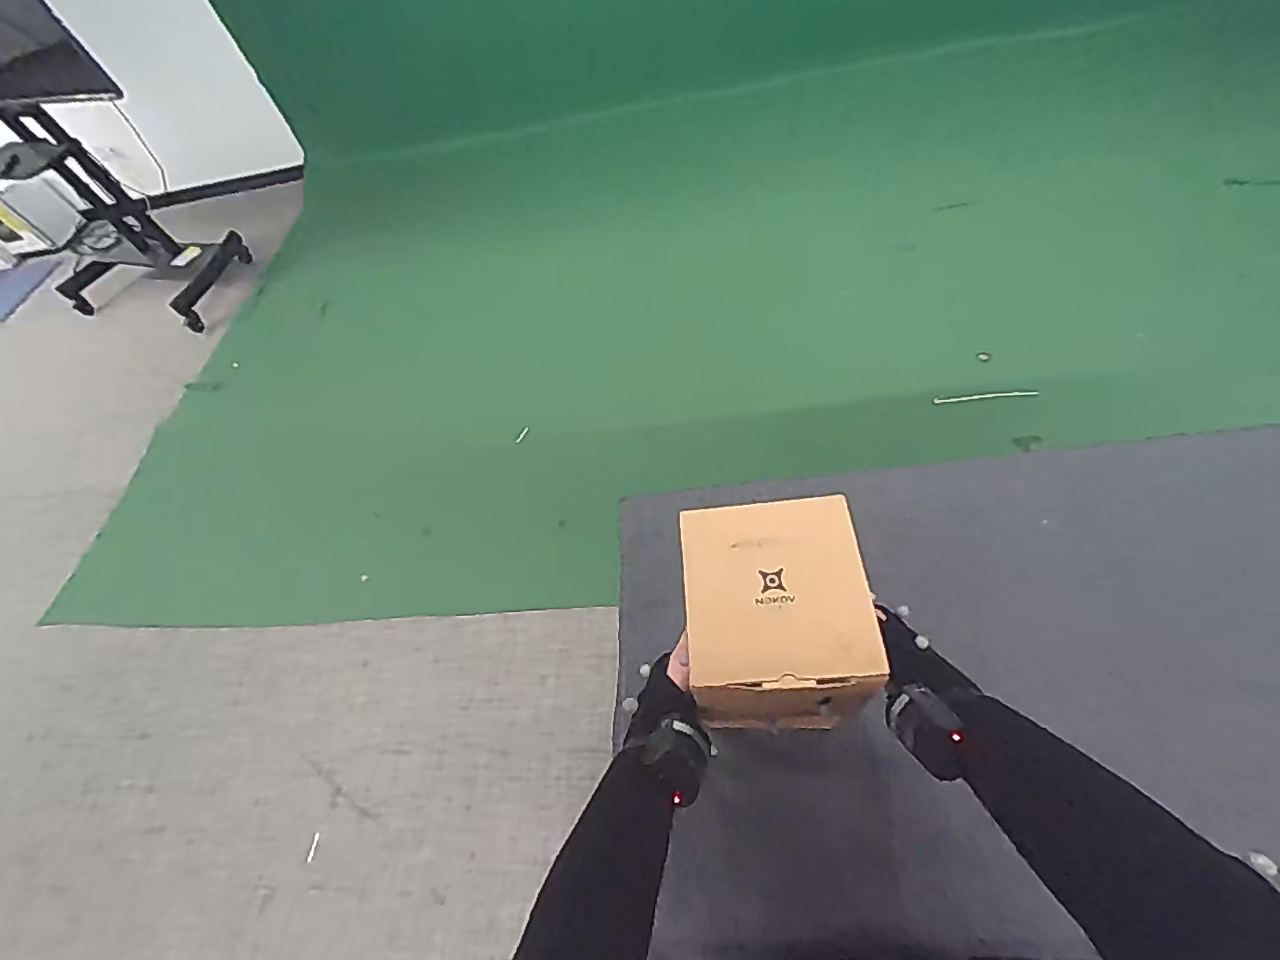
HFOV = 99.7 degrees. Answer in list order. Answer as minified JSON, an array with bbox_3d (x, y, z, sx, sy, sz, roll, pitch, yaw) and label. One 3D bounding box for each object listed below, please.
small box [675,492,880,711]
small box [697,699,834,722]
[{"bbox_3d":[0.131,0.135,0.563,0.168,0.176,0.179,-6,55,7],"label":"small box"},{"bbox_3d":[0.159,0.212,0.705,0.168,0.176,0.179,-4,57,8],"label":"small box"}]
